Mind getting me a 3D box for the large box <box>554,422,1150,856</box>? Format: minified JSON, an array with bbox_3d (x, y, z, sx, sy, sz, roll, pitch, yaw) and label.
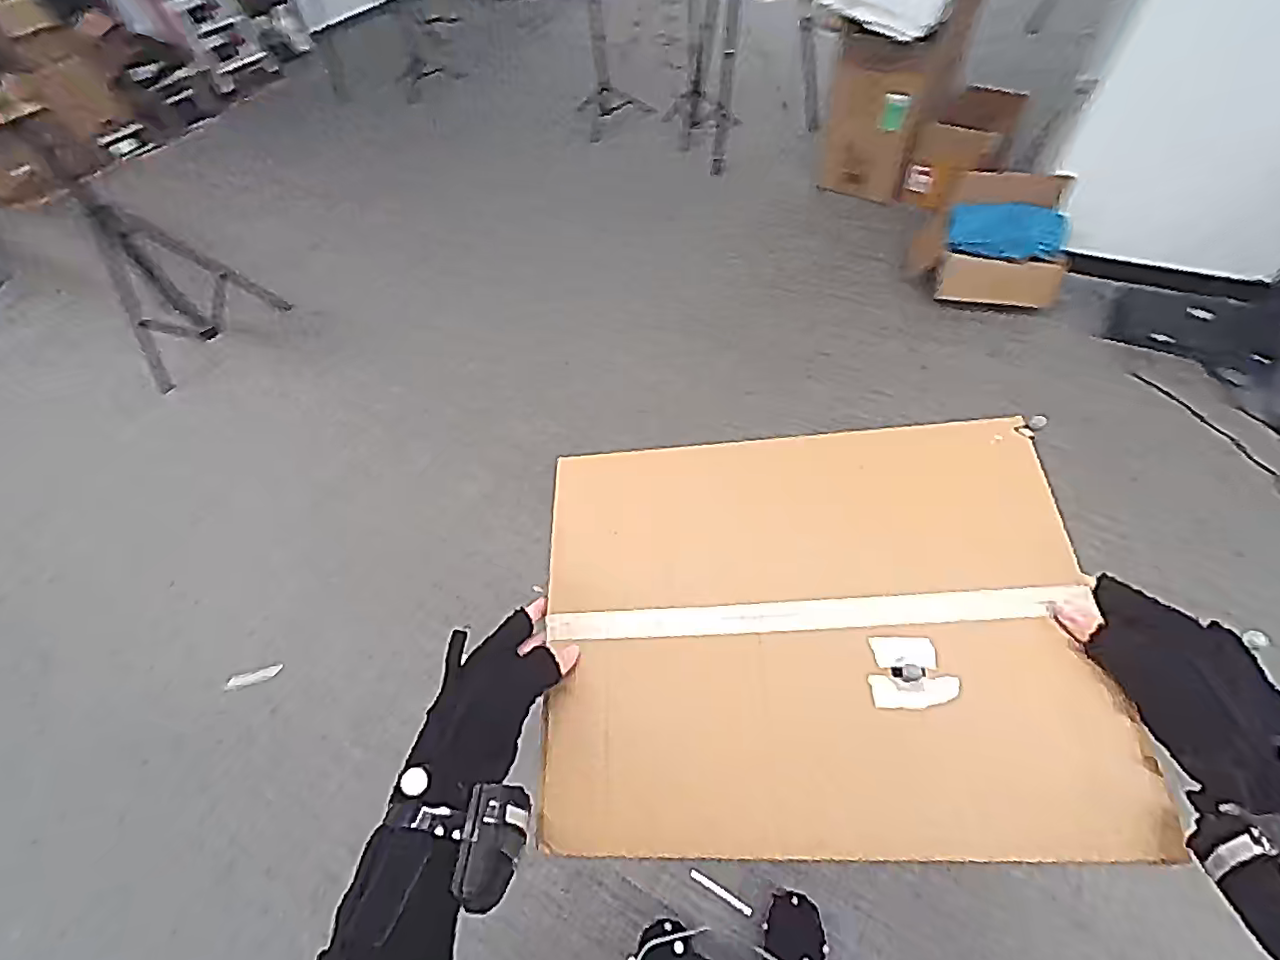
[{"bbox_3d":[0.146,0.172,0.563,0.408,0.320,0.320,-6,65,7],"label":"large box"}]
